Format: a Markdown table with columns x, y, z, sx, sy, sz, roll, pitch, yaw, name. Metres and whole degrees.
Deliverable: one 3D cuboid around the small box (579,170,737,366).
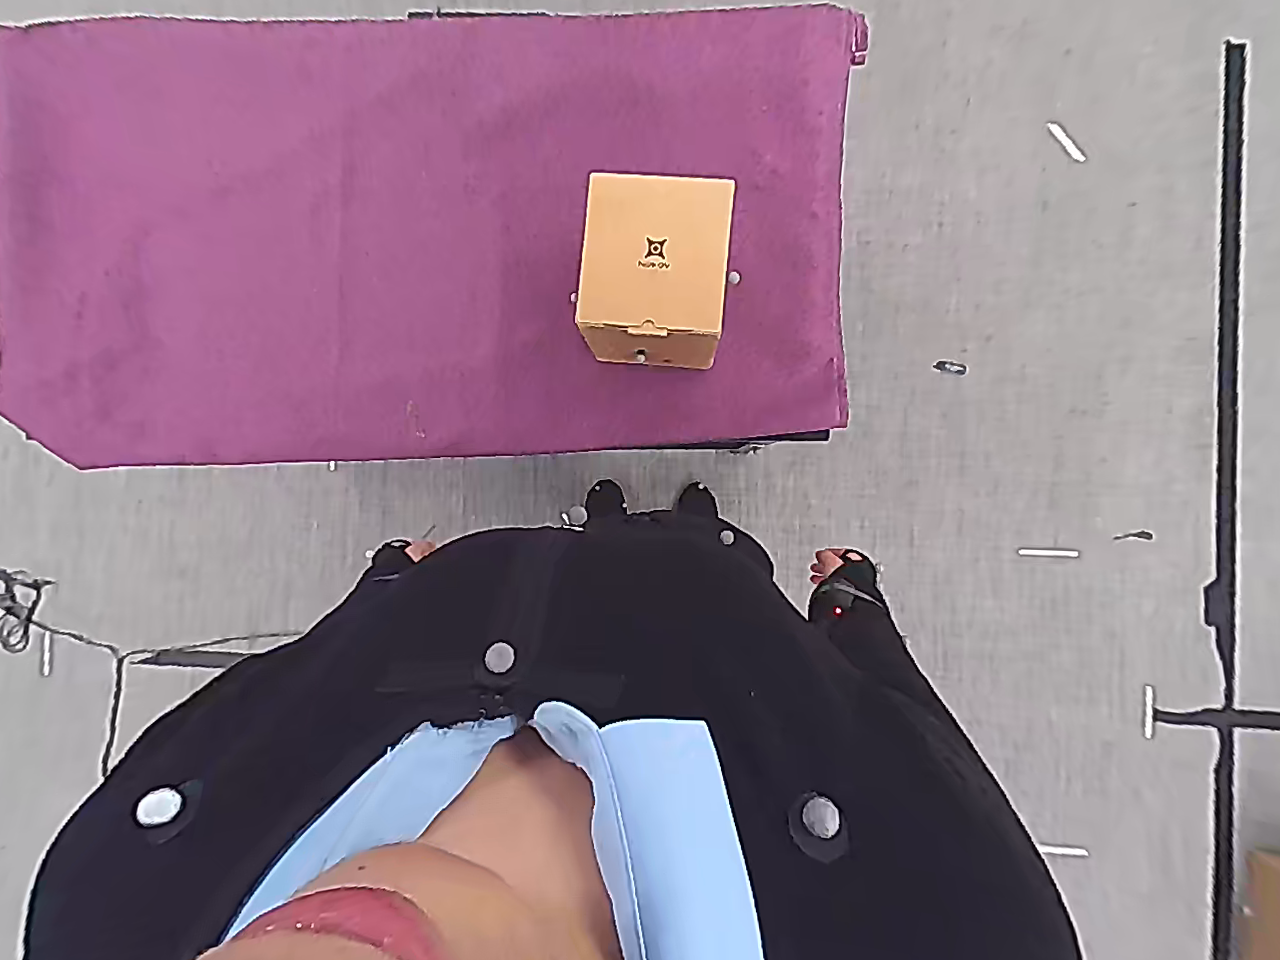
| x | y | z | sx | sy | sz | roll | pitch | yaw | name |
| --- | --- | --- | --- | --- | --- | --- | --- | --- | --- |
| 0.023 | -0.255 | 0.684 | 0.168 | 0.176 | 0.179 | 5 | 90 | 4 | small box |
